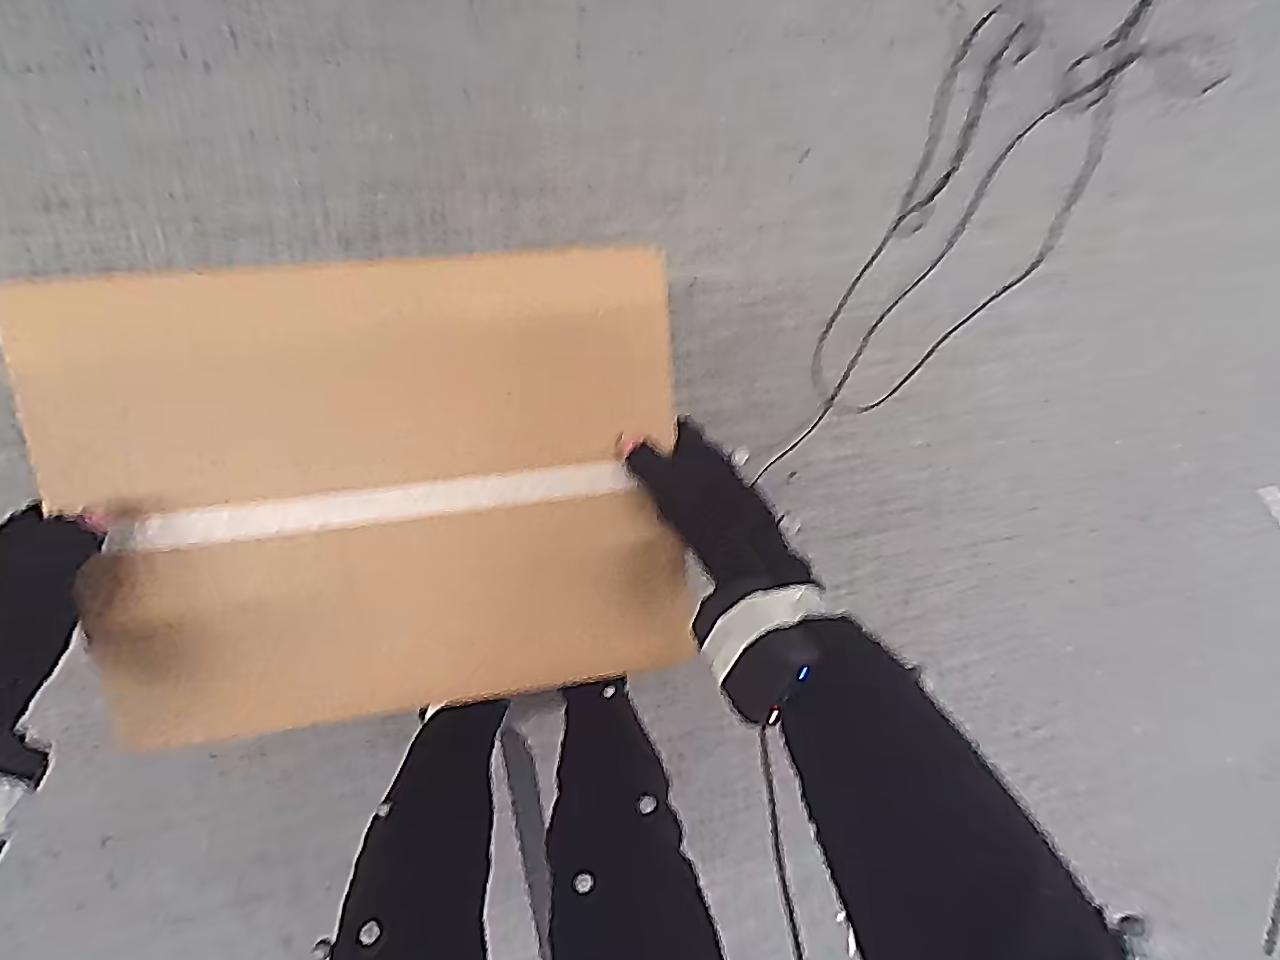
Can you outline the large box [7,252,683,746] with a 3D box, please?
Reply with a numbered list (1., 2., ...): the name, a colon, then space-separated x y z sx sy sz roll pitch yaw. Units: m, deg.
1. large box: -0.196 -0.011 0.522 0.408 0.320 0.320 -6 99 -9
